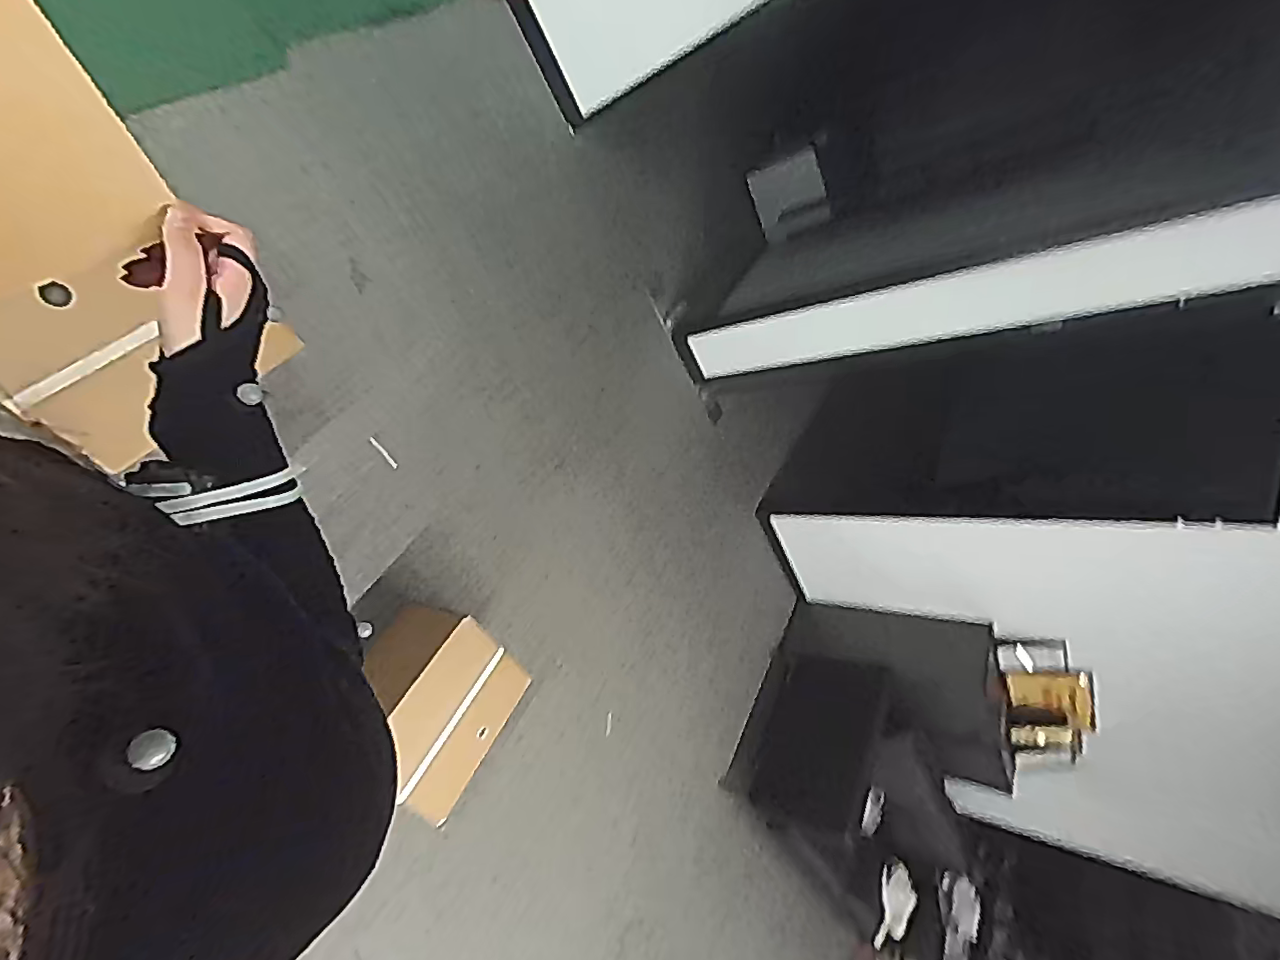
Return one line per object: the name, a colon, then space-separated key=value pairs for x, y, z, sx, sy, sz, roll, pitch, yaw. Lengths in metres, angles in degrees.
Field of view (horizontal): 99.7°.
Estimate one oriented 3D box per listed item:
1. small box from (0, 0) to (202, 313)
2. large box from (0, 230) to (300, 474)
small box: x=-0.434 y=-0.211 z=0.337 sx=0.179 sy=0.176 sz=0.168 roll=-40 pitch=137 yaw=-23
large box: x=-0.977 y=-0.259 z=1.035 sx=0.320 sy=0.320 sz=0.408 roll=58 pitch=48 yaw=-31
